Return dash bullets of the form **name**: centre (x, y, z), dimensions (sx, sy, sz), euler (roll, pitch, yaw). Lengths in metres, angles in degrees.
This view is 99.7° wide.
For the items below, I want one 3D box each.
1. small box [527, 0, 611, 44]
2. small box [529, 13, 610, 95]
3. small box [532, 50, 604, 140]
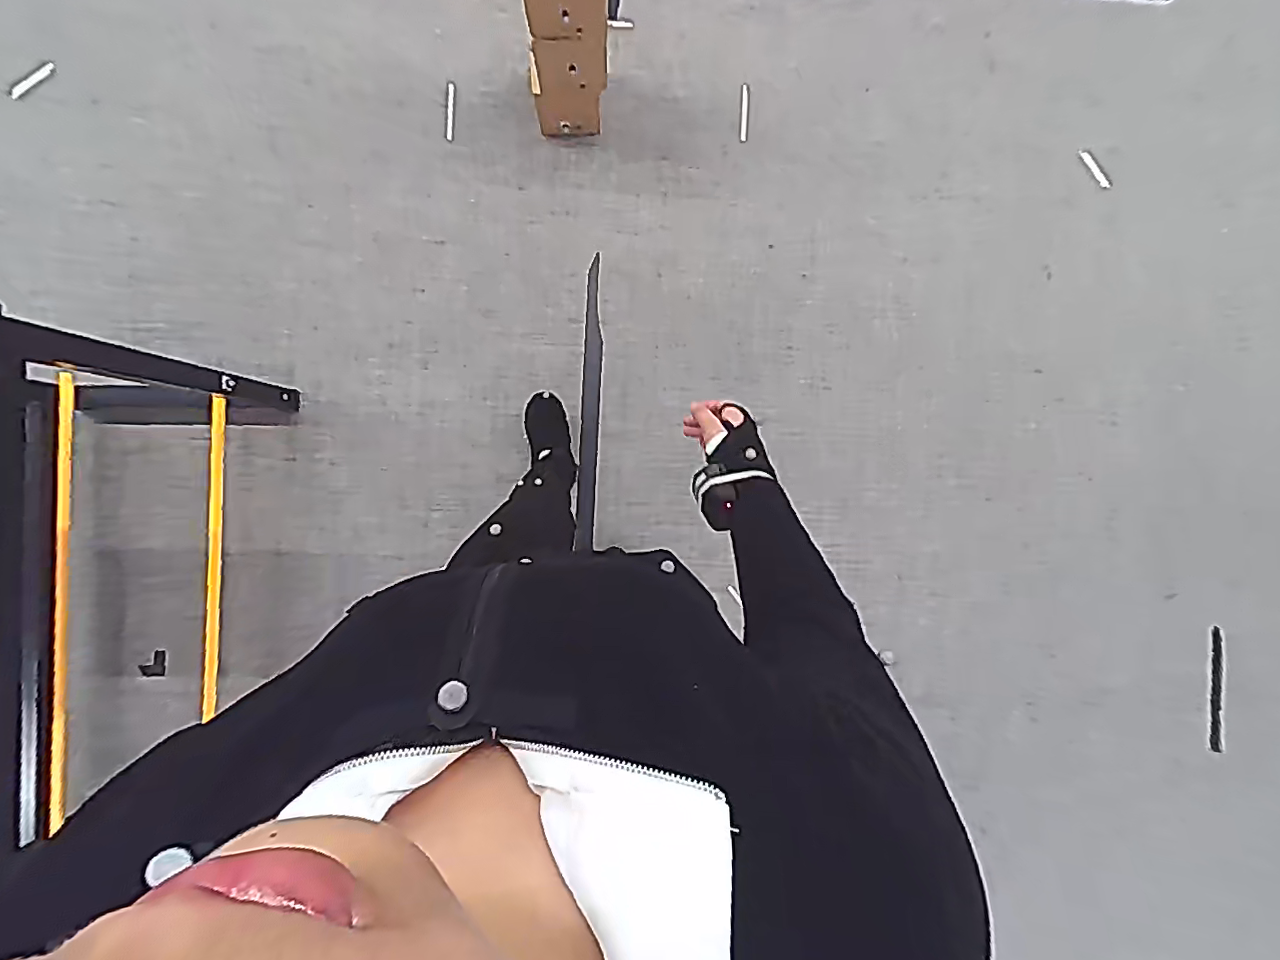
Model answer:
- **small box**: centre (-0.143, -1.018, 1.068), dimensions (0.168, 0.176, 0.179), euler (0, 90, -1)
- **small box**: centre (-0.158, -1.015, 1.233), dimensions (0.168, 0.176, 0.179), euler (-5, 91, -2)
- **small box**: centre (-0.183, -1.017, 1.396), dimensions (0.168, 0.176, 0.179), euler (-4, 92, -1)
